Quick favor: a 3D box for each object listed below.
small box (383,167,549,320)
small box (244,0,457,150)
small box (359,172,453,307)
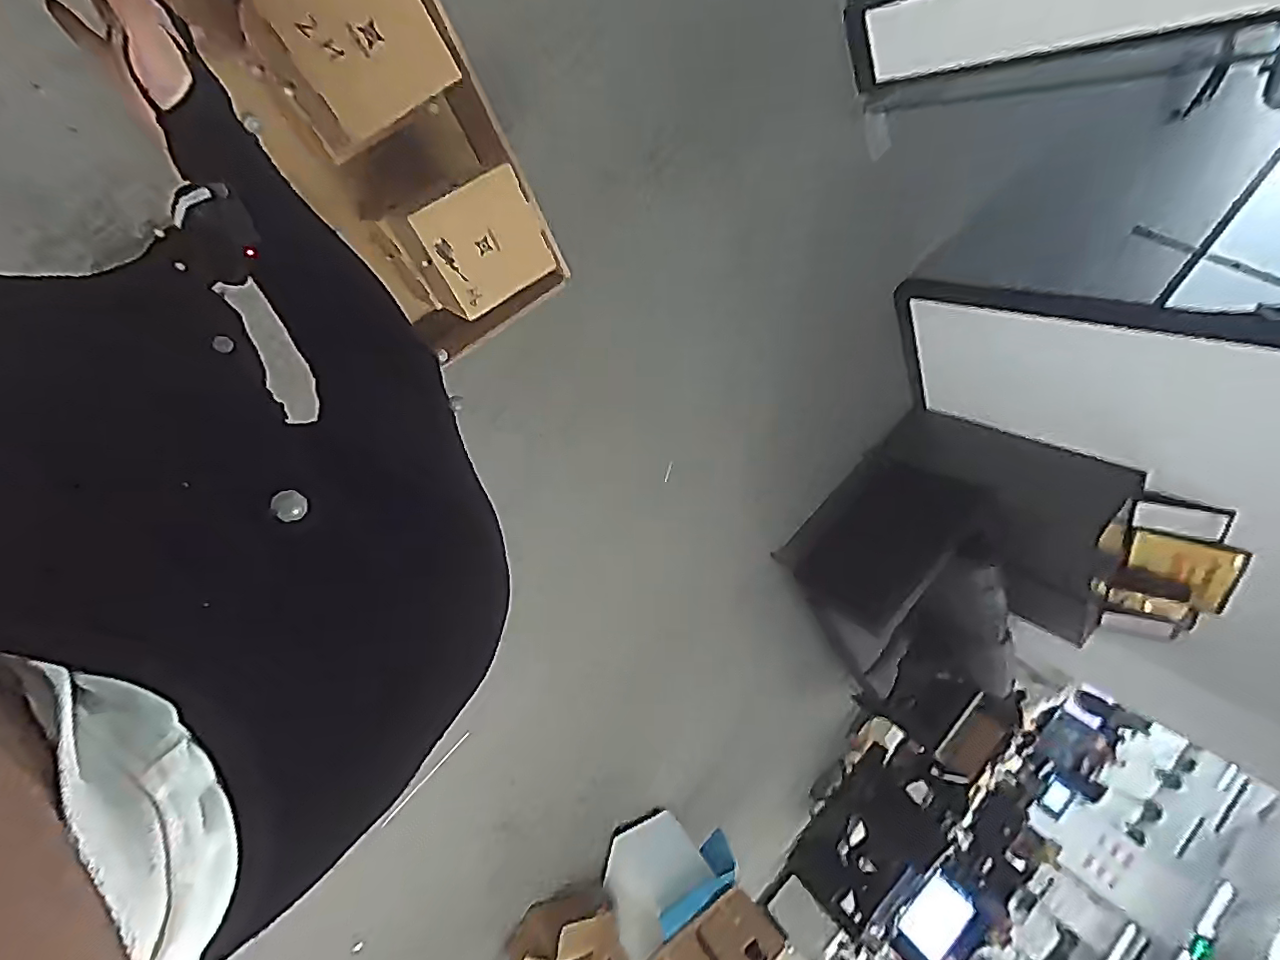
[{"bbox_3d":[-0.287,-0.393,0.888,0.179,0.176,0.168,-38,132,-15],"label":"small box"},{"bbox_3d":[-0.384,-0.565,0.713,0.179,0.176,0.168,-42,132,-12],"label":"small box"},{"bbox_3d":[-0.387,-0.453,1.005,0.179,0.176,0.168,-39,132,-13],"label":"small box"}]
